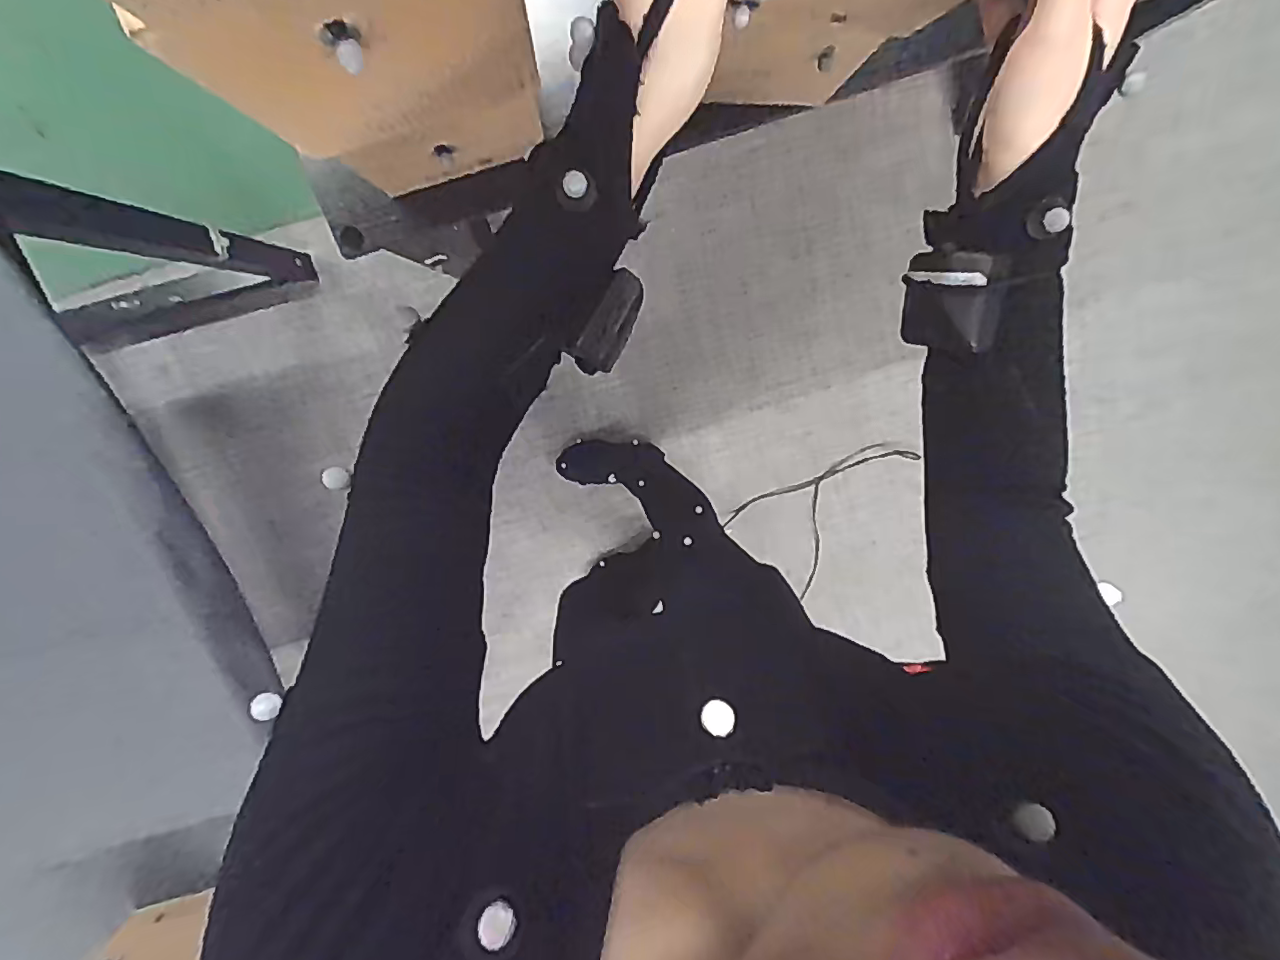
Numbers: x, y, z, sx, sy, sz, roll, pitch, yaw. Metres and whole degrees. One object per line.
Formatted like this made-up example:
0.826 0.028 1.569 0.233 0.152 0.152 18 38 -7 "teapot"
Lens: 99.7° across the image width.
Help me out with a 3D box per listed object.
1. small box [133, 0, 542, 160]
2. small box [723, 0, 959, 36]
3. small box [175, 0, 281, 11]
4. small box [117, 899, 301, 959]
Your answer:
-0.160 -0.307 0.294 0.179 0.176 0.168 -17 105 1 "small box"
0.133 -0.371 0.284 0.168 0.176 0.179 2 113 -5 "small box"
-0.138 -0.268 0.136 0.168 0.176 0.179 -16 106 1 "small box"
-0.577 0.678 0.688 0.168 0.176 0.179 -17 105 3 "small box"
